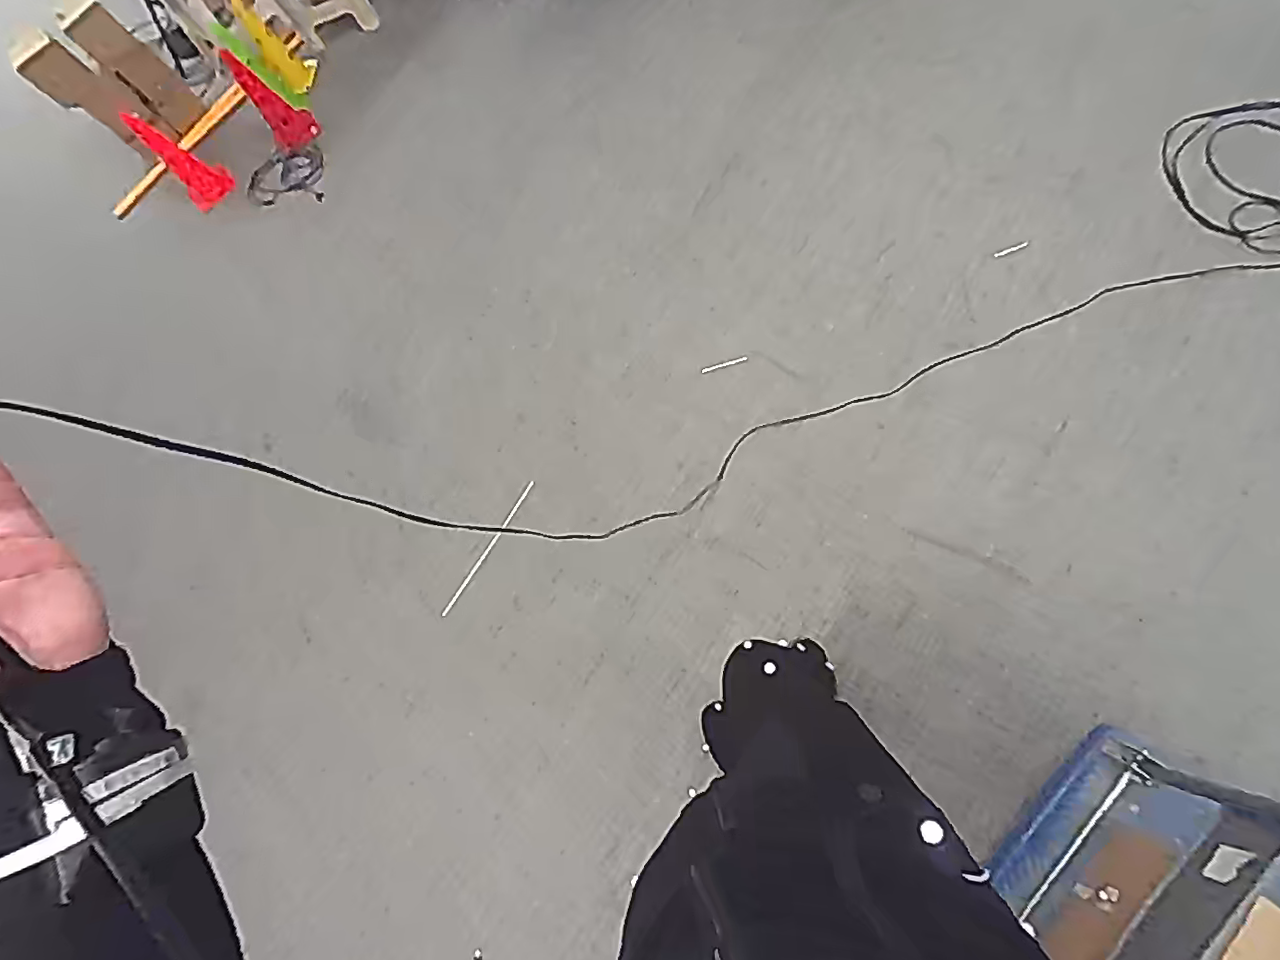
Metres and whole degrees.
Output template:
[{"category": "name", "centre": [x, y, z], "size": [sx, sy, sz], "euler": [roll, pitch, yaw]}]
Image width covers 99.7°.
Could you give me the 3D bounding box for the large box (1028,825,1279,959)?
[{"category": "large box", "centre": [0.934, 0.845, 0.825], "size": [0.408, 0.320, 0.320], "euler": [39, 86, 19]}]
